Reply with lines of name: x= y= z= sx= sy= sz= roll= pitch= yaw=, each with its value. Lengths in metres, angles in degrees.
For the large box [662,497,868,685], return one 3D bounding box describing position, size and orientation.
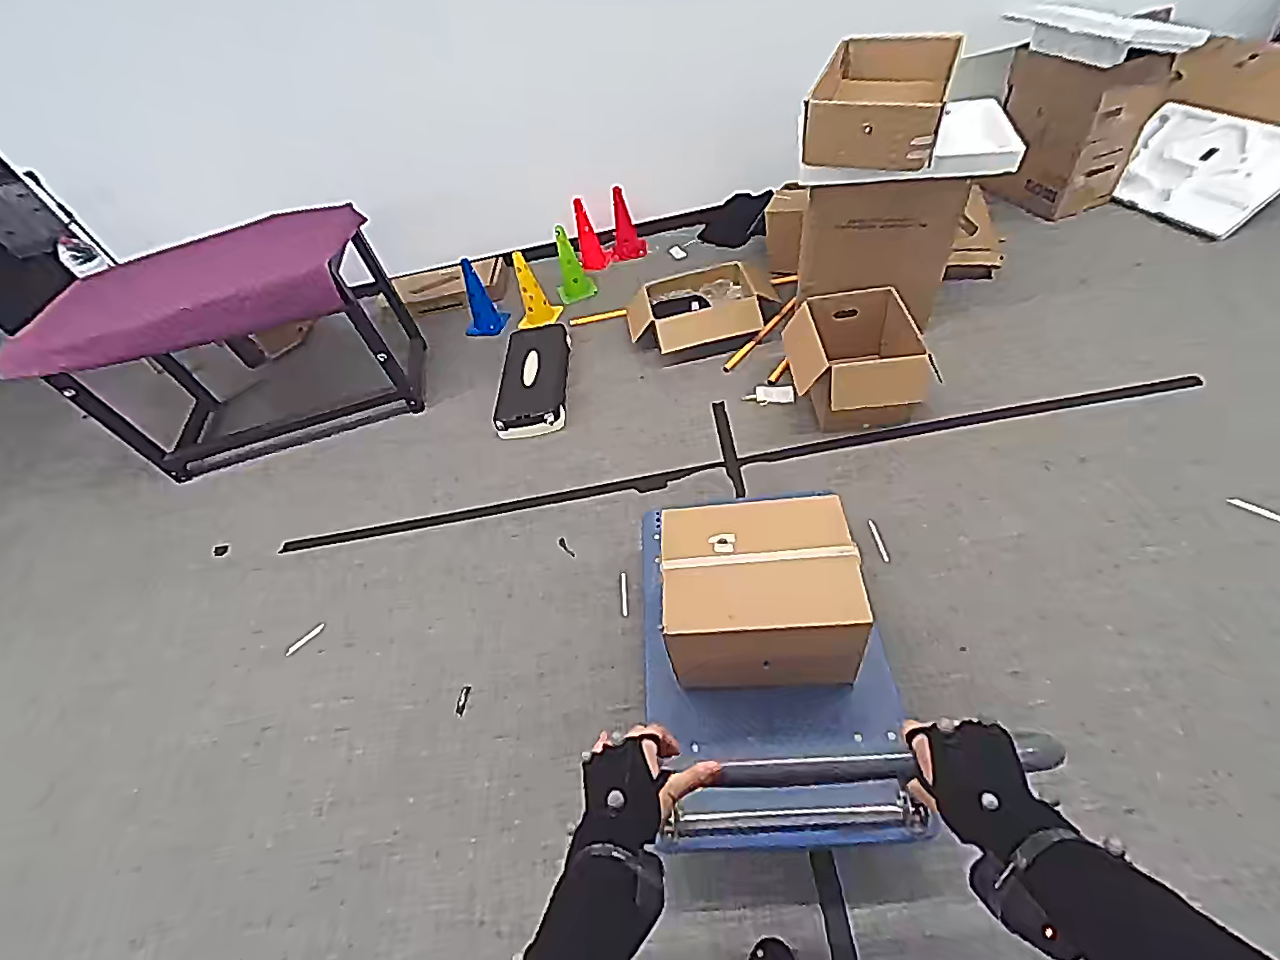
large box: x=0.275 y=0.270 z=1.272 sx=0.408 sy=0.320 sz=0.320 roll=-6 pitch=48 yaw=9
